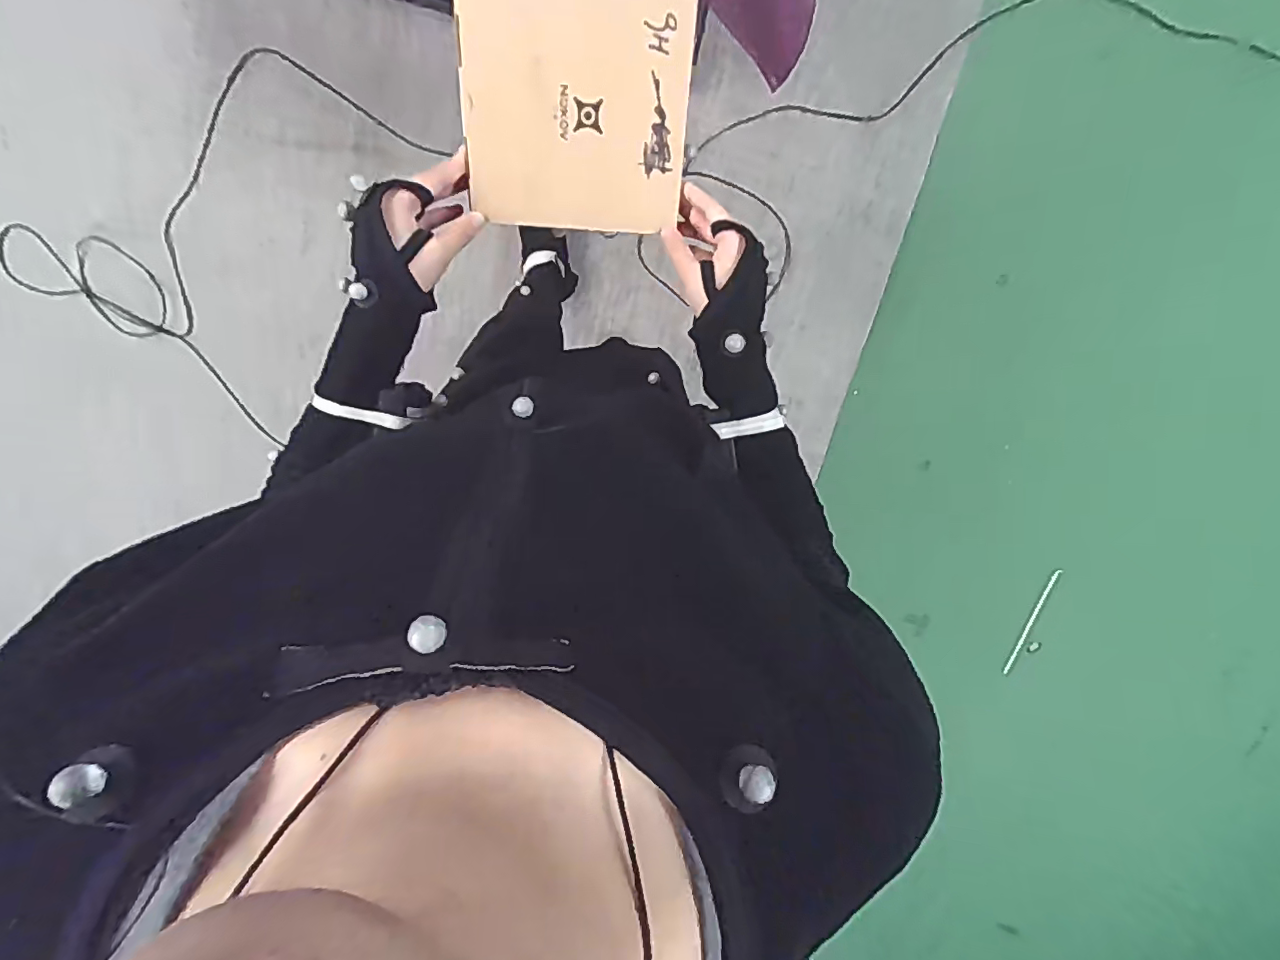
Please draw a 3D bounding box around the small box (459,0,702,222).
[{"bbox_3d":[-0.053,-0.333,0.484,0.179,0.176,0.168,2,119,-7],"label":"small box"}]
